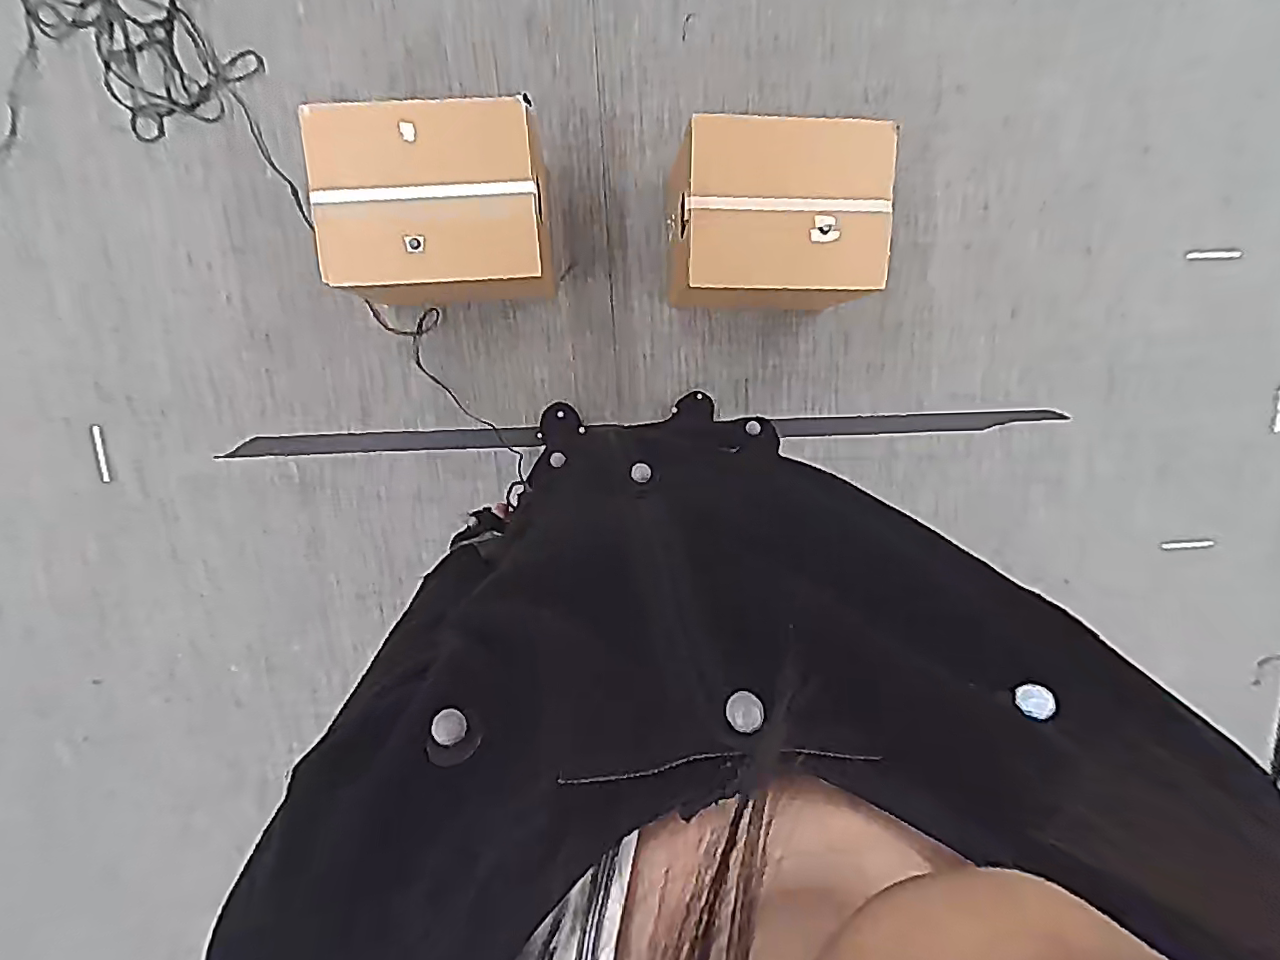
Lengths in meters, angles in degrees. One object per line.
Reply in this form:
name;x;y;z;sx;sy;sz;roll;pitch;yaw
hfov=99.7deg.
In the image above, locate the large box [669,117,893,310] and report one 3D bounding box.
large box;0.284;-0.563;1.207;0.408;0.320;0.320;-1;100;-5
